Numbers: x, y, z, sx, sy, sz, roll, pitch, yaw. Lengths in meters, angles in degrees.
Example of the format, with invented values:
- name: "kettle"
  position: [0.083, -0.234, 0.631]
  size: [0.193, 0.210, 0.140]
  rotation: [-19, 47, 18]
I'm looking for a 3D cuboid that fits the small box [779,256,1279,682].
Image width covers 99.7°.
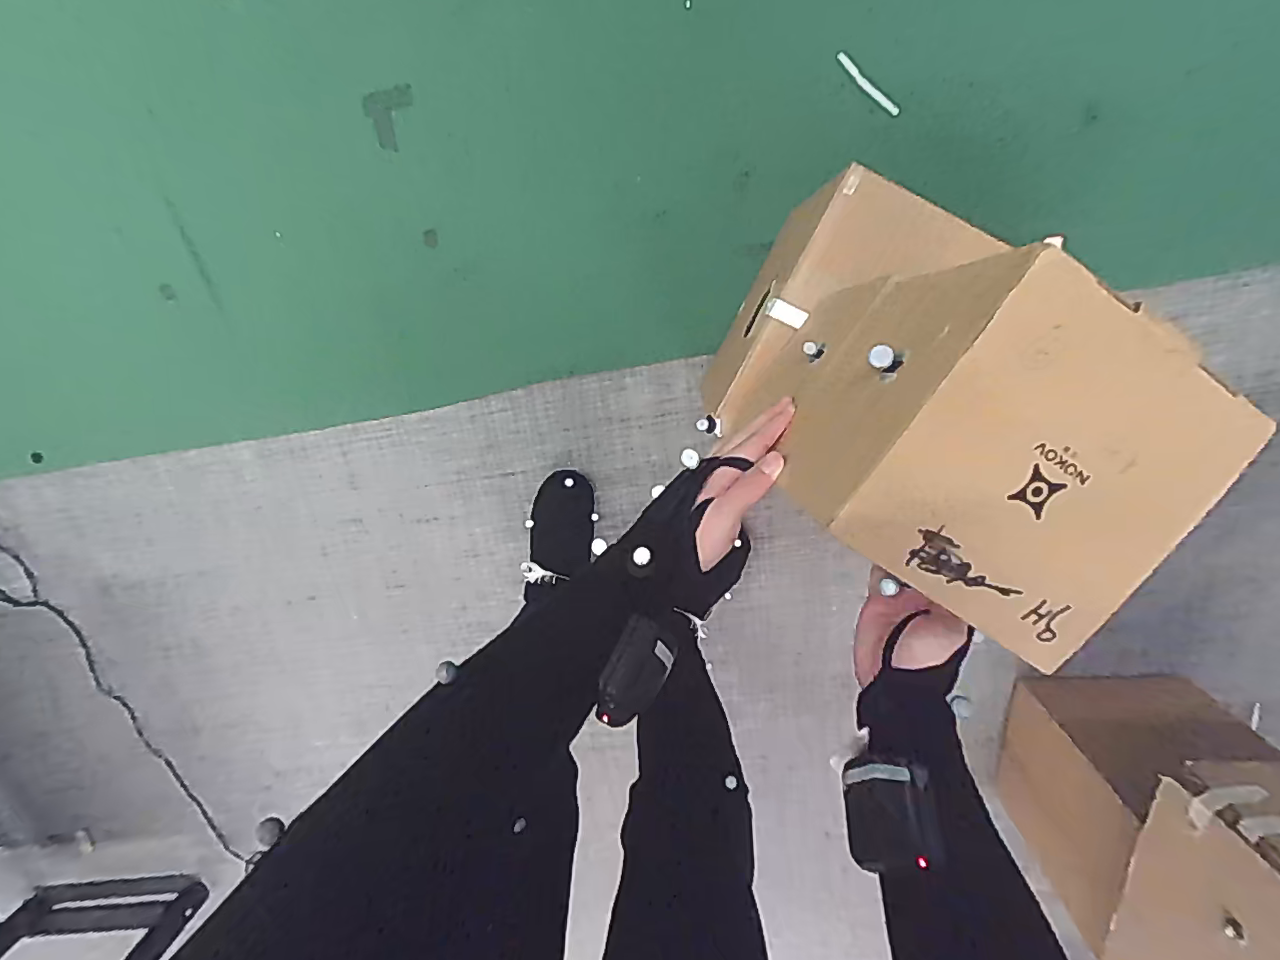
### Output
- name: "small box"
  position: [0.219, -0.014, 0.361]
  size: [0.168, 0.176, 0.179]
  rotation: [33, 100, -8]

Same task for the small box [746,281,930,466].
- name: "small box"
  position: [0.223, -0.060, 0.519]
  size: [0.168, 0.176, 0.179]
  rotation: [33, 101, -7]
